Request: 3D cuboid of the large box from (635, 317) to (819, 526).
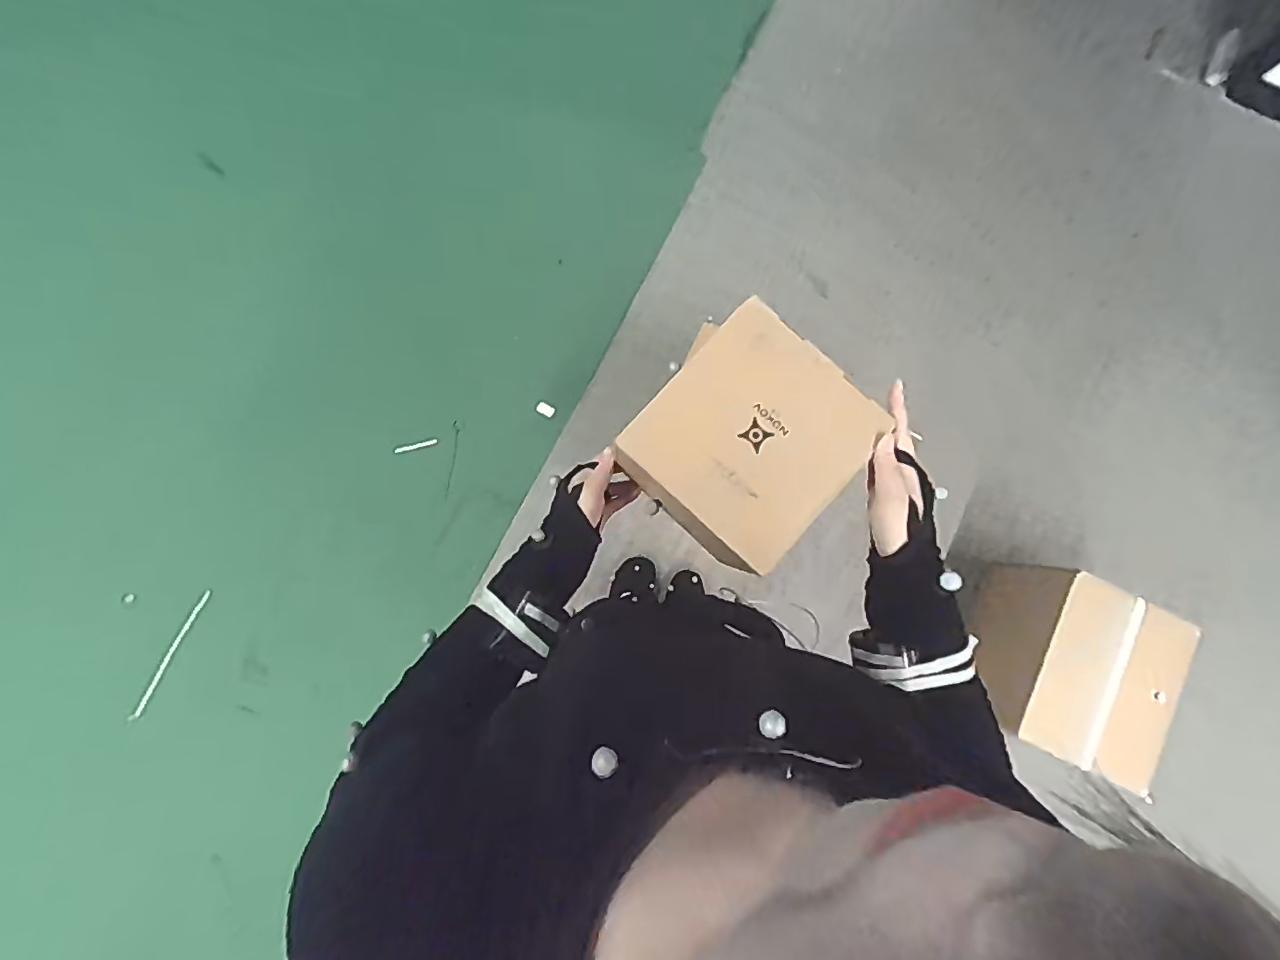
[{"bbox_3d":[0.201,-0.126,1.395,0.320,0.320,0.408,25,84,1],"label":"large box"}]
